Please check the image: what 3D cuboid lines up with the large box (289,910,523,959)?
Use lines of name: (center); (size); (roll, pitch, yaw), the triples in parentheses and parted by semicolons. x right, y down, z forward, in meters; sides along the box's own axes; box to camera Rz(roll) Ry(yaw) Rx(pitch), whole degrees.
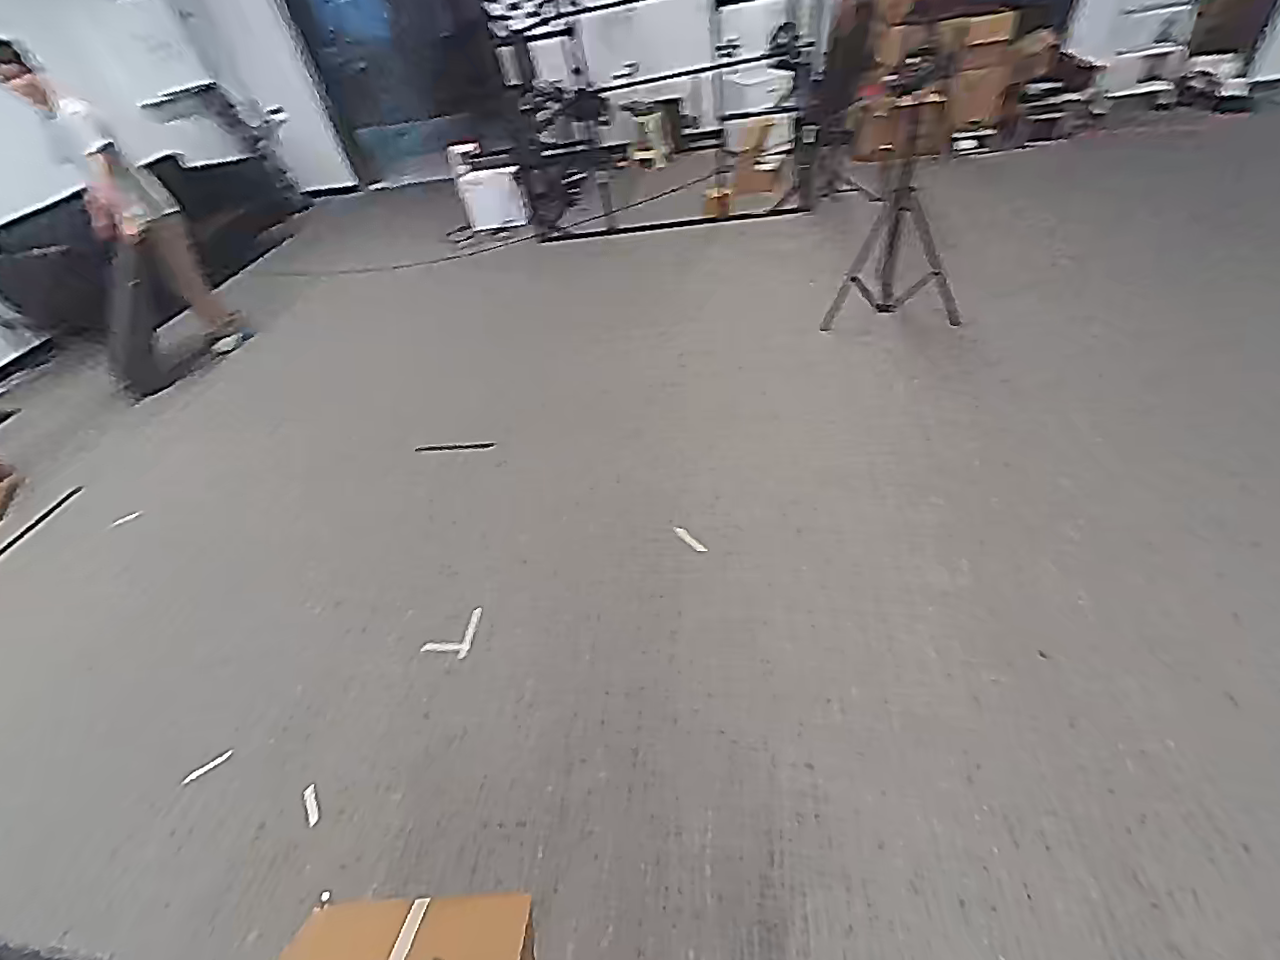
large box: (-0.306, 0.793, 0.592); (0.320, 0.320, 0.408); (-2, 2, -2)
